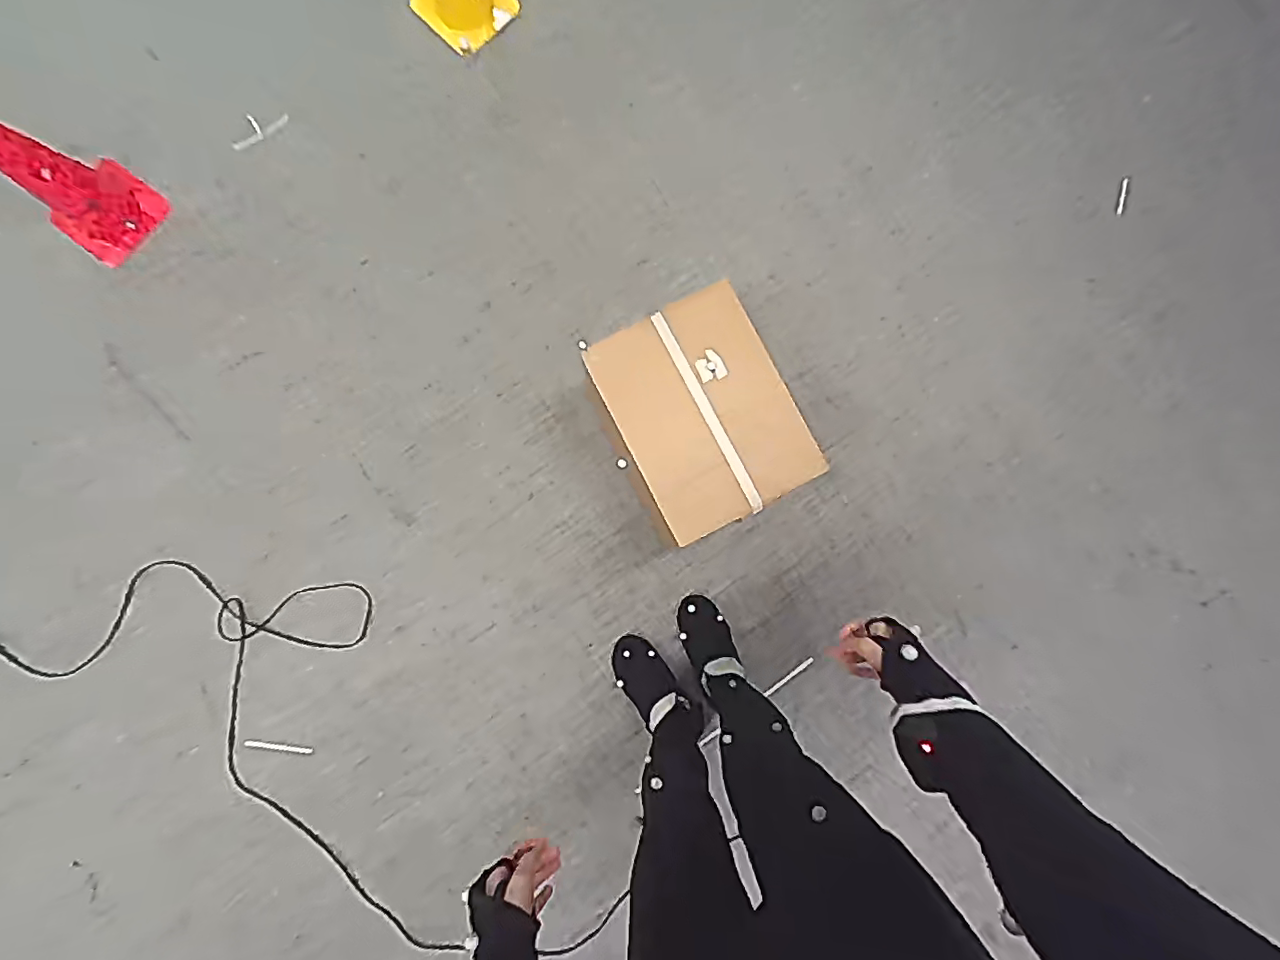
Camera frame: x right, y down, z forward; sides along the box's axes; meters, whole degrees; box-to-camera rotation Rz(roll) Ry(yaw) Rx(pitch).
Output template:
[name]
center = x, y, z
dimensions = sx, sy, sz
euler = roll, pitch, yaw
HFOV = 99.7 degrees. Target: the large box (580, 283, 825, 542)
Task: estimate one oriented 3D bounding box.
[large box]
center = 0.113, -0.117, 1.141
dimensions = 0.320, 0.320, 0.408
euler = -28, 86, -5
